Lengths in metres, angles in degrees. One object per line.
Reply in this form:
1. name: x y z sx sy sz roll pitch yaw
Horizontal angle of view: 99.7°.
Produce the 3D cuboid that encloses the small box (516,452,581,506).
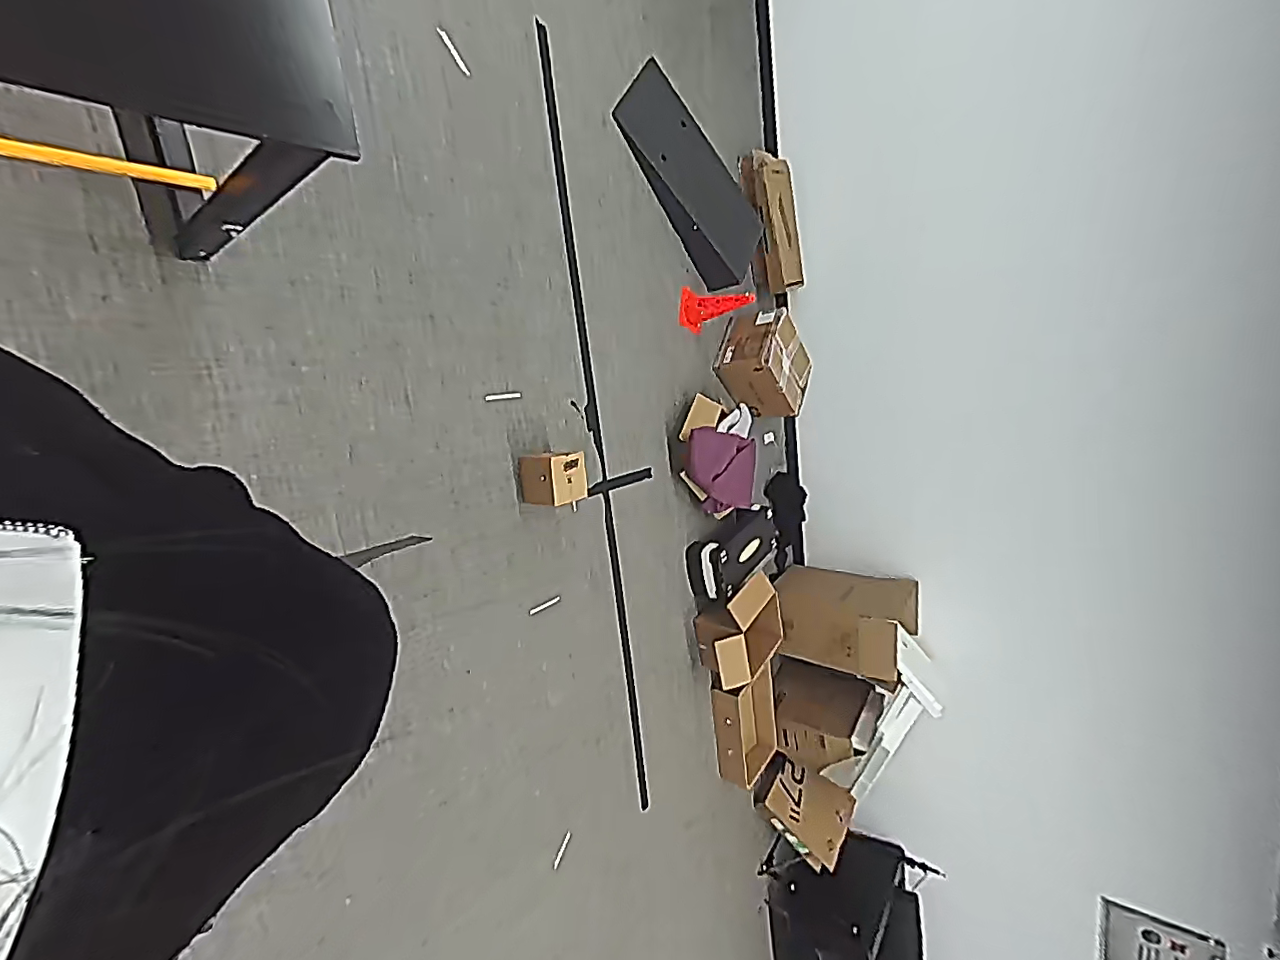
1. small box: -0.335 -0.006 1.969 0.168 0.176 0.179 -14 103 -51
